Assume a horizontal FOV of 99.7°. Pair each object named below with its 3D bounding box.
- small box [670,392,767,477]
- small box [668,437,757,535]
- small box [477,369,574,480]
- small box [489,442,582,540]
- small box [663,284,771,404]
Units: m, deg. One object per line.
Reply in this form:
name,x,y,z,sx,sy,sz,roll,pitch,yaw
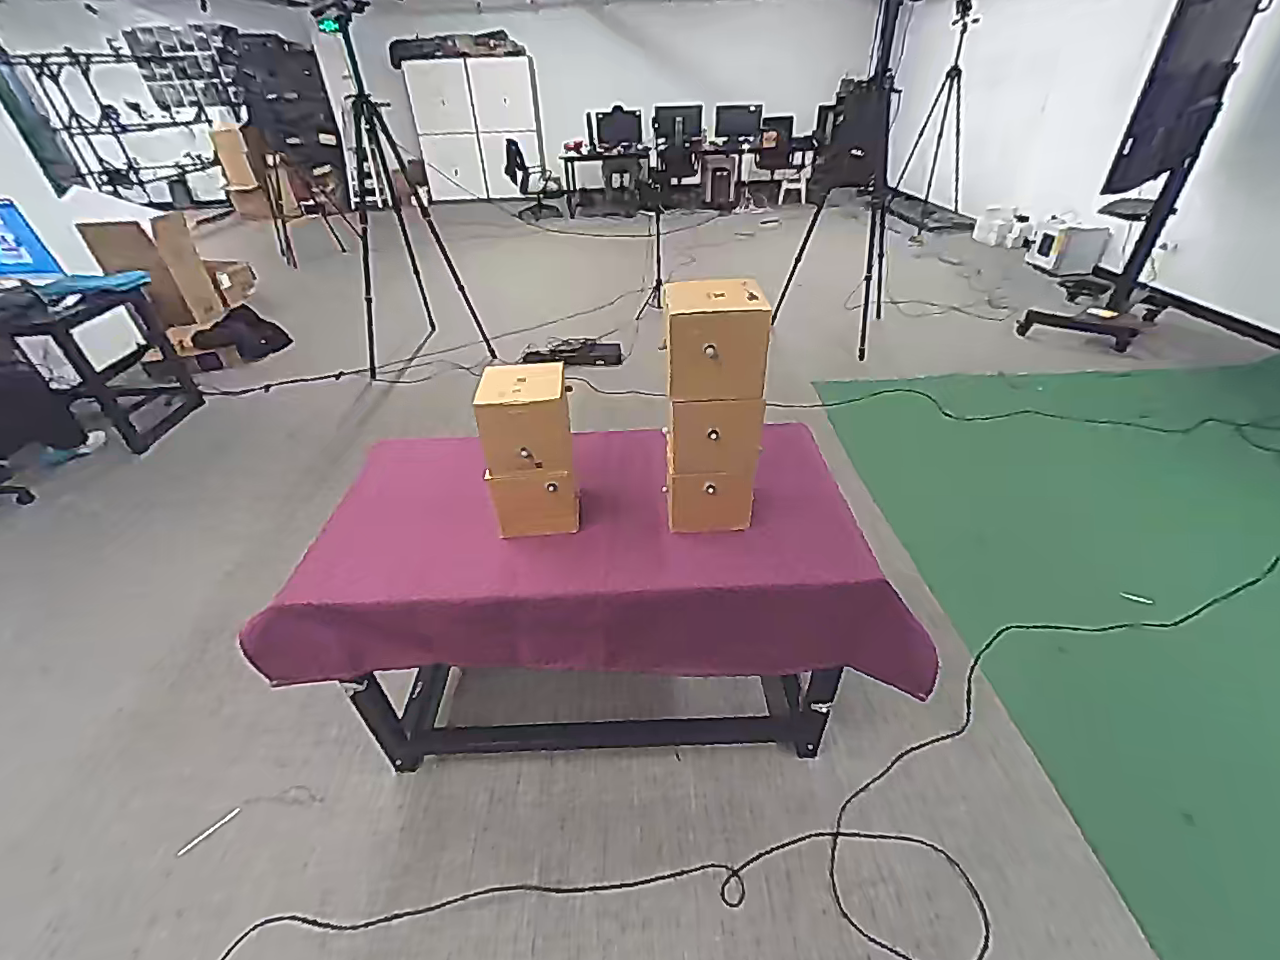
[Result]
small box,0.152,-0.121,1.108,0.179,0.176,0.168,-3,37,2
small box,0.155,0.011,1.206,0.179,0.176,0.168,-2,37,1
small box,-0.230,-0.118,1.133,0.168,0.176,0.179,-5,36,-3
small box,-0.228,0.022,1.222,0.179,0.176,0.168,-4,36,-3
small box,0.138,-0.252,1.010,0.179,0.176,0.168,-3,37,2
